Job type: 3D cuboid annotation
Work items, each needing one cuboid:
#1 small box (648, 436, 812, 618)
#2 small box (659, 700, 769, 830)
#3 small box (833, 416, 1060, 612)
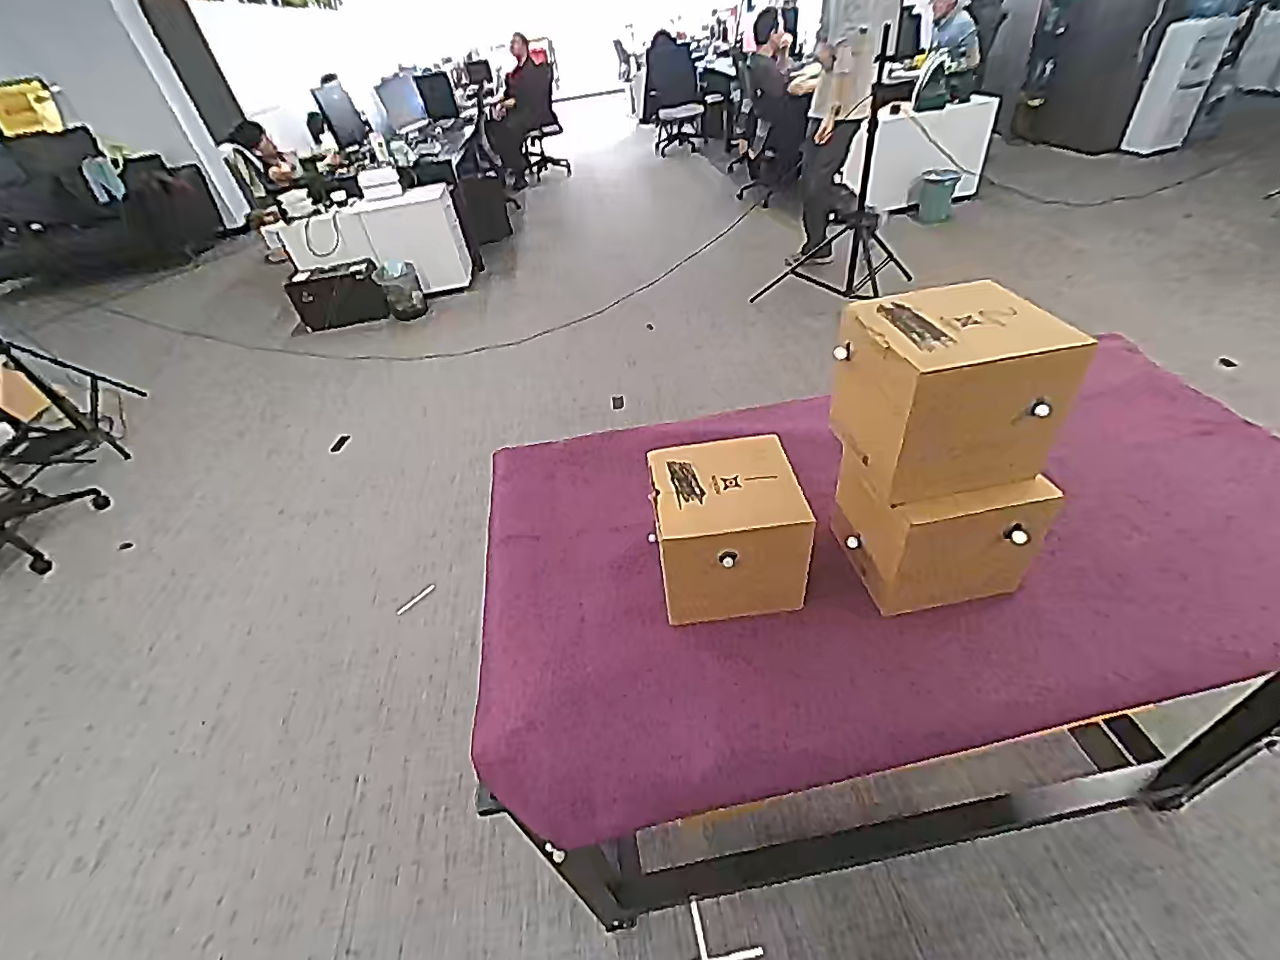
[{"bbox_3d":[0.110,0.065,0.712,0.179,0.176,0.168,-6,40,0],"label":"small box"},{"bbox_3d":[0.142,0.570,1.080,0.179,0.176,0.168,-11,43,-3],"label":"small box"},{"bbox_3d":[0.368,0.043,0.691,0.179,0.176,0.168,-11,39,-2],"label":"small box"}]
